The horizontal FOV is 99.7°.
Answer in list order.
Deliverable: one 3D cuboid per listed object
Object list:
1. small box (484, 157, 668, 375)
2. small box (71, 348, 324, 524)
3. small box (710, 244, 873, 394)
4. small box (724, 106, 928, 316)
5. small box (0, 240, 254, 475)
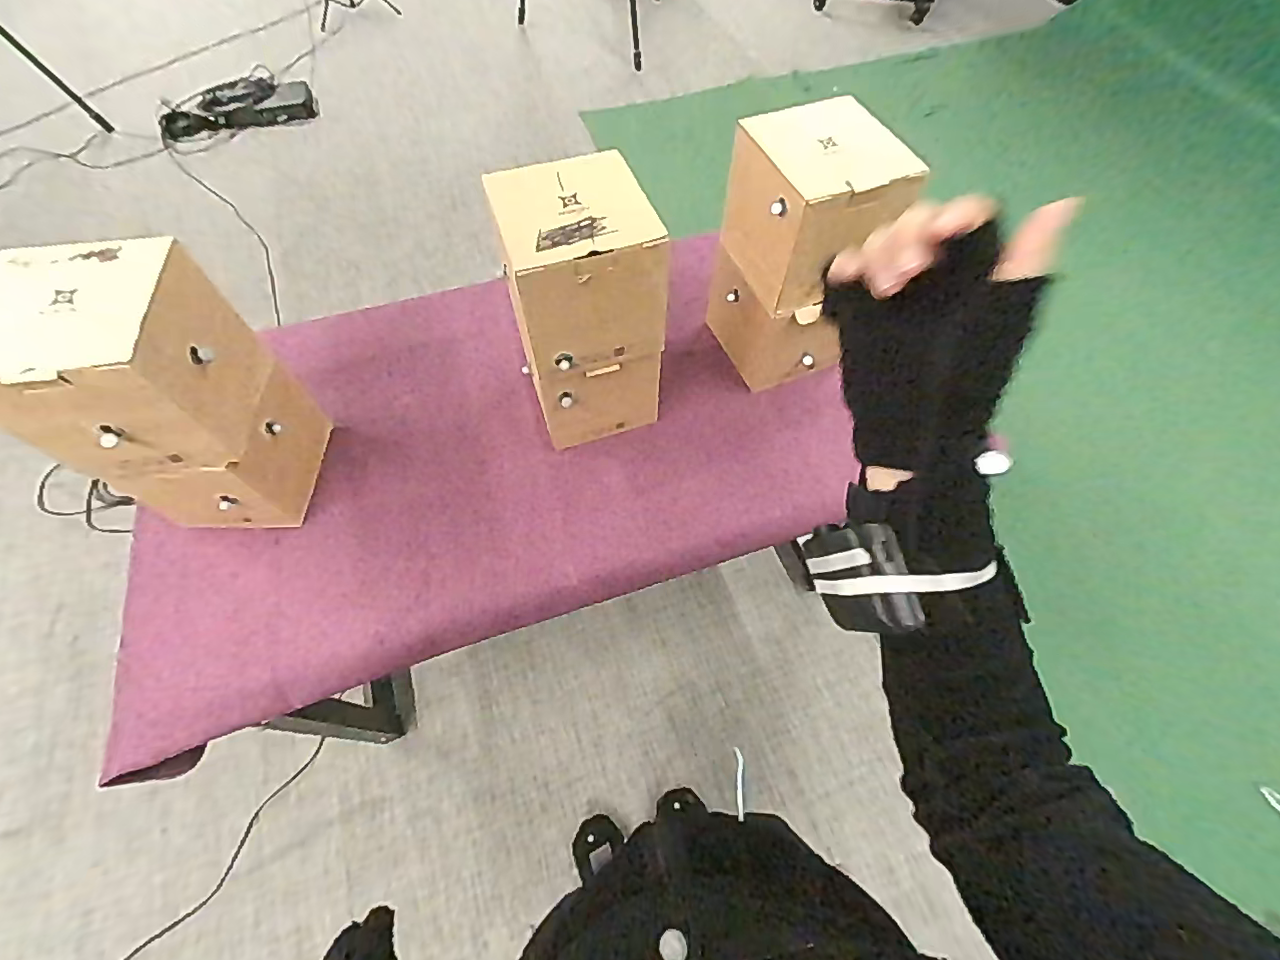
[{"bbox_3d":[-0.073,-0.248,0.653,0.168,0.176,0.179,-17,61,-10],"label":"small box"},{"bbox_3d":[-0.548,-0.051,0.705,0.168,0.176,0.179,0,61,-1],"label":"small box"},{"bbox_3d":[0.223,-0.268,0.858,0.168,0.176,0.179,-20,63,-11],"label":"small box"},{"bbox_3d":[0.227,-0.352,0.718,0.168,0.176,0.179,-19,64,-11],"label":"small box"},{"bbox_3d":[-0.544,-0.119,0.577,0.168,0.176,0.179,-11,62,-7],"label":"small box"}]
